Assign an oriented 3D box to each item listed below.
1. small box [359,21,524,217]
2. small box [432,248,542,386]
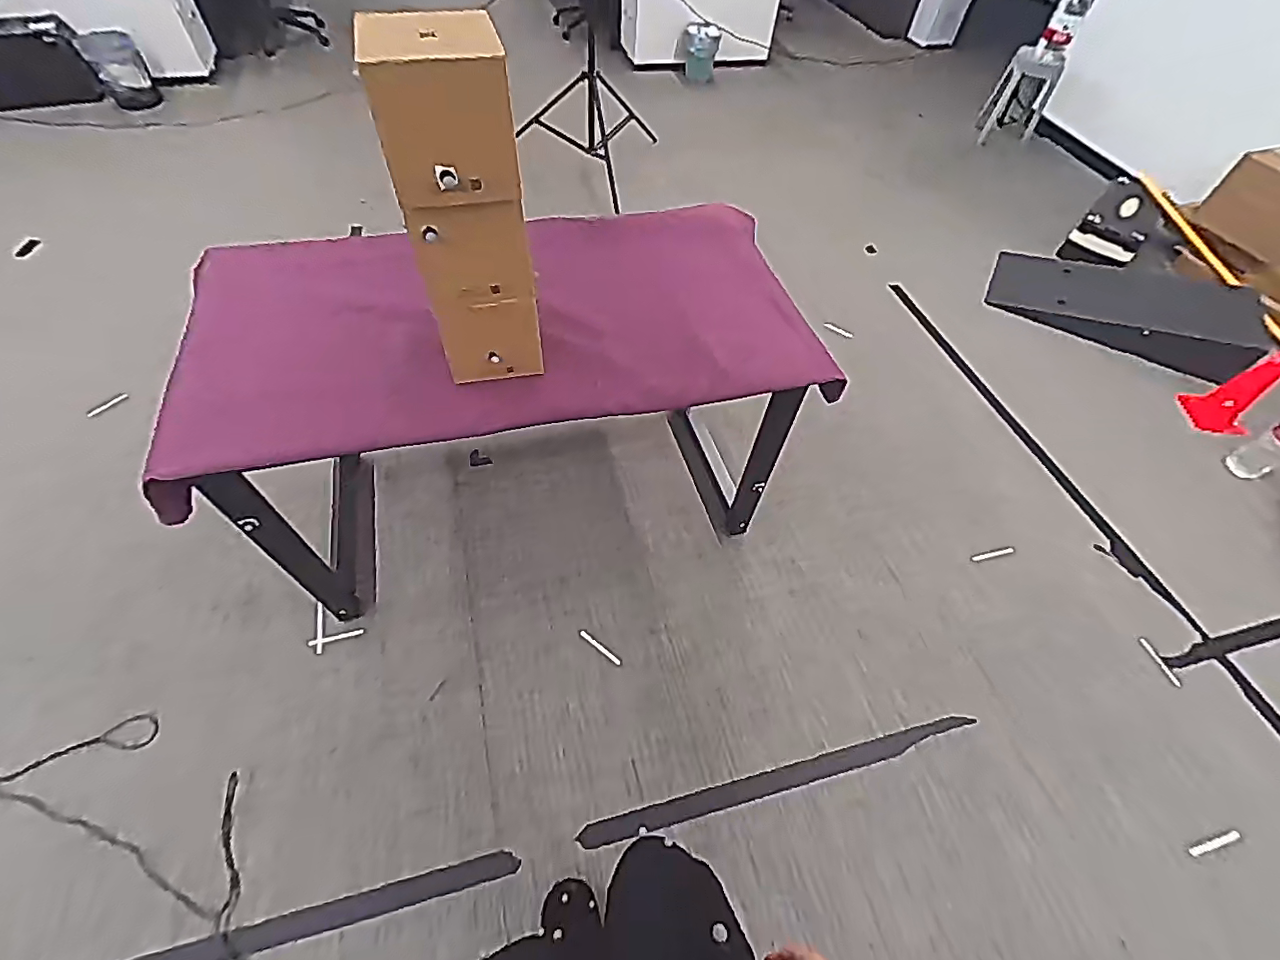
[{"bbox_3d":[-0.259,-0.480,0.721,0.168,0.176,0.179,-13,57,-12],"label":"small box"},{"bbox_3d":[-0.277,-0.298,0.992,0.168,0.176,0.179,-9,55,-10],"label":"small box"}]
